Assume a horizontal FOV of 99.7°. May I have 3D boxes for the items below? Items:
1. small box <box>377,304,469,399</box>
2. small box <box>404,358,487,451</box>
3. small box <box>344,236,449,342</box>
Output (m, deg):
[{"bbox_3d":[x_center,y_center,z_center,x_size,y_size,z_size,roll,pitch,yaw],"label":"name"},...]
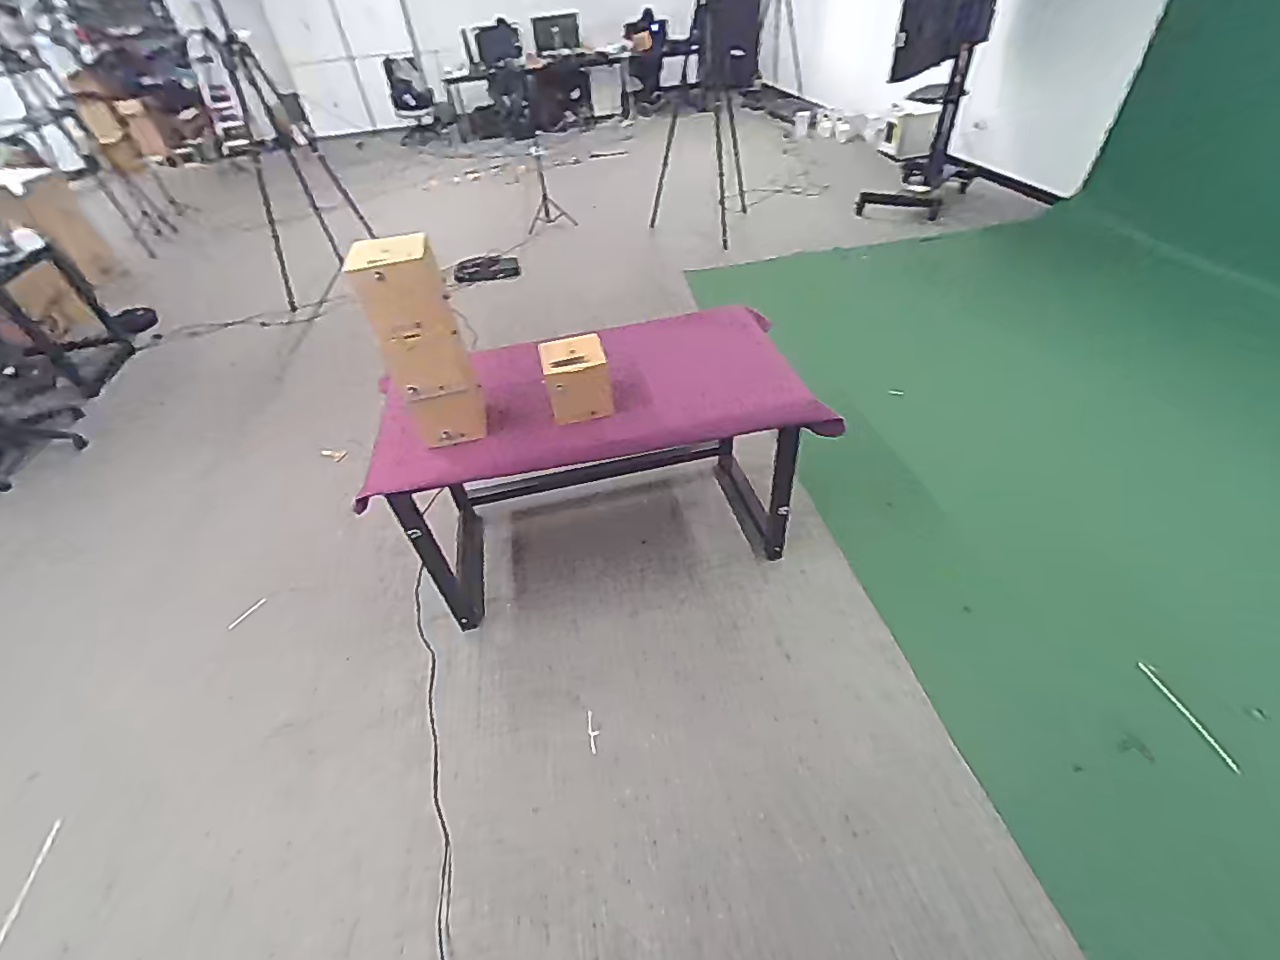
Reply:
[{"bbox_3d":[-0.536,-0.319,1.360,0.168,0.176,0.179,-13,42,-6],"label":"small box"},{"bbox_3d":[-0.523,-0.206,1.478,0.168,0.176,0.179,-13,44,-6],"label":"small box"},{"bbox_3d":[-0.552,-0.442,1.253,0.168,0.176,0.179,-13,43,-6],"label":"small box"}]
